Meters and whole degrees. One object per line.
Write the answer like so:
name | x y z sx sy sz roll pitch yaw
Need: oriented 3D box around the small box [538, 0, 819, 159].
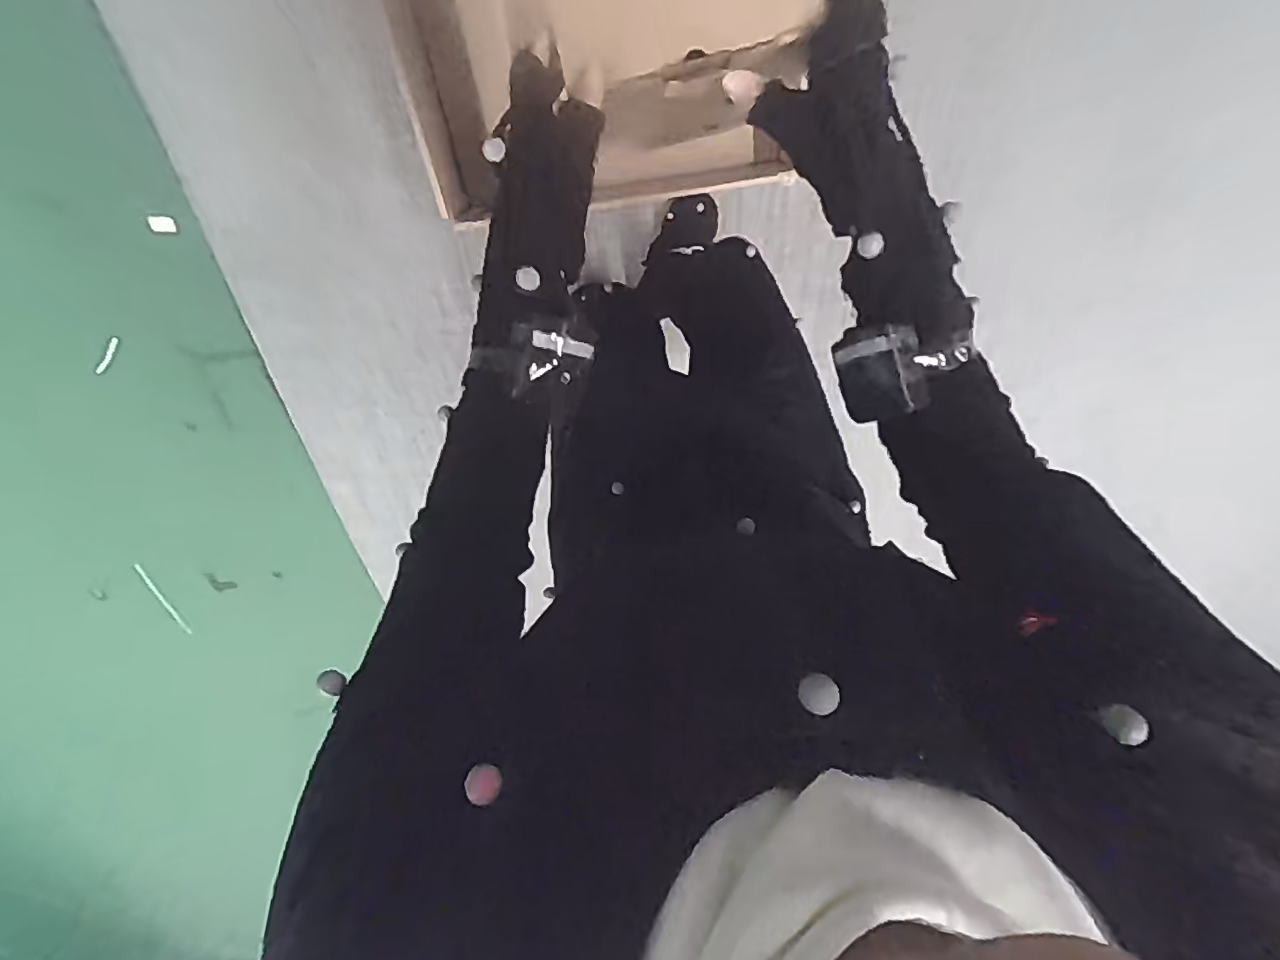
small box | 0.017 -0.353 0.386 0.168 0.176 0.179 -11 106 6
